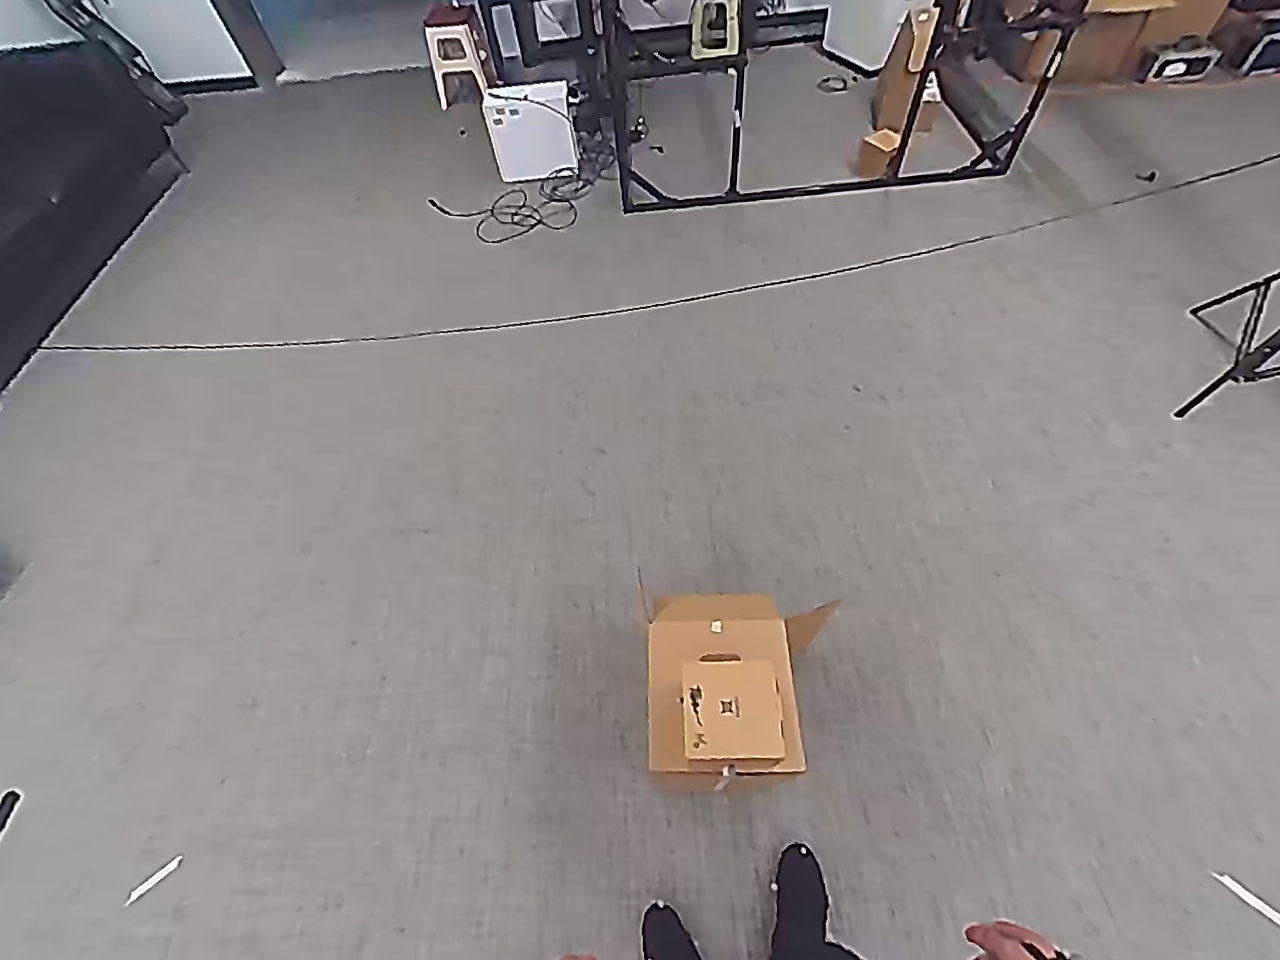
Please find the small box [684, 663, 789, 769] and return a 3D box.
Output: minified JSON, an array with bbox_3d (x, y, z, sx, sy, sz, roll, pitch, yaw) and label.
[{"bbox_3d":[0.175,0.454,1.036,0.179,0.176,0.168,-2,57,4],"label":"small box"}]
